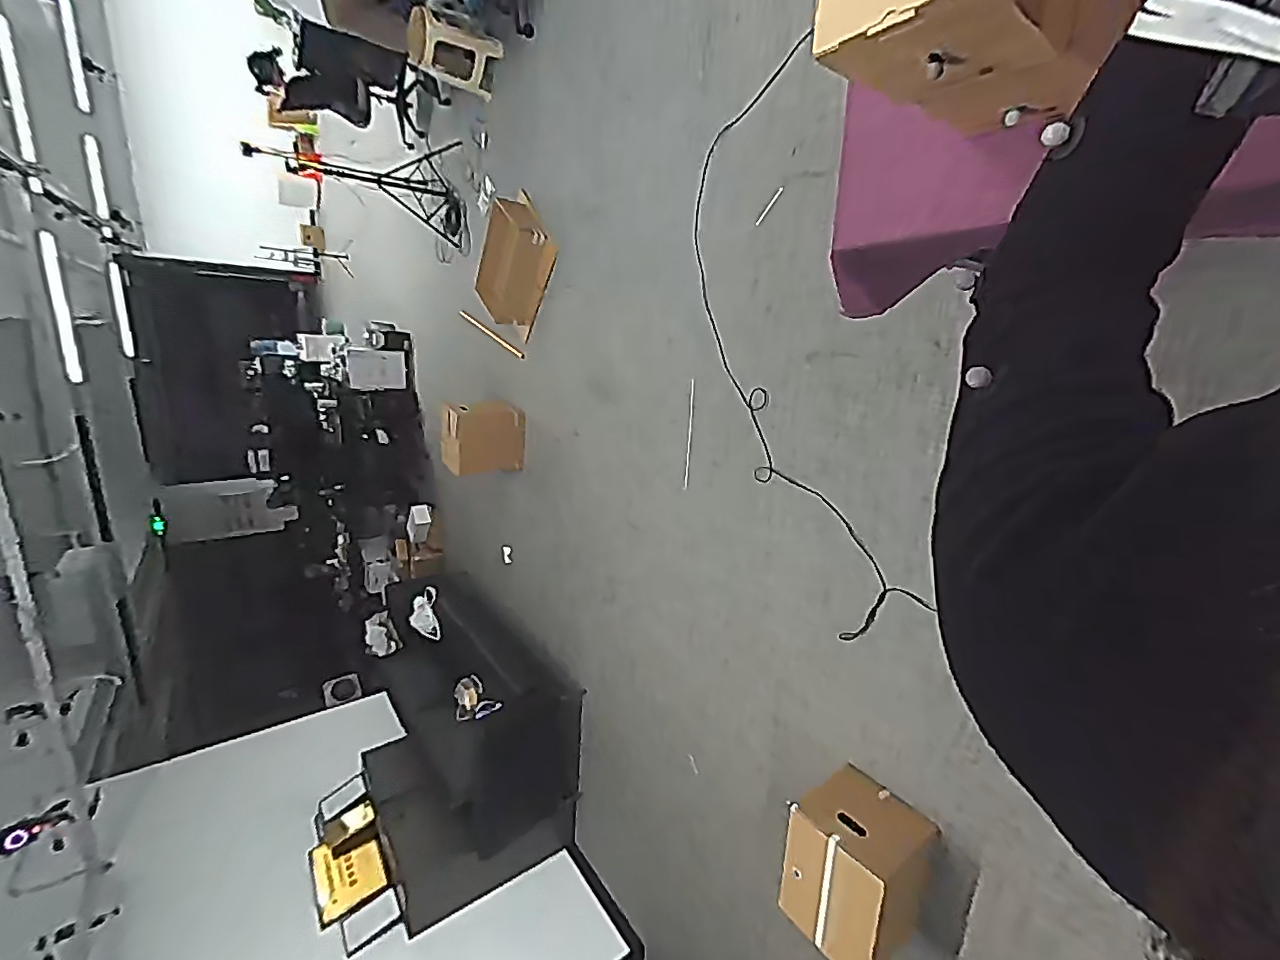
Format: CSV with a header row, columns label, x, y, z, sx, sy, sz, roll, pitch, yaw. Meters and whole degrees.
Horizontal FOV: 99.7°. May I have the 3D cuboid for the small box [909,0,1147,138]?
label,x,y,z,sx,sy,sz,roll,pitch,yaw
small box,0.431,-0.515,0.599,0.168,0.176,0.179,21,113,51

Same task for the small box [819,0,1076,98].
label,x,y,z,sx,sy,sz,roll,pitch,yaw
small box,0.296,-0.491,0.507,0.168,0.176,0.179,21,113,50
